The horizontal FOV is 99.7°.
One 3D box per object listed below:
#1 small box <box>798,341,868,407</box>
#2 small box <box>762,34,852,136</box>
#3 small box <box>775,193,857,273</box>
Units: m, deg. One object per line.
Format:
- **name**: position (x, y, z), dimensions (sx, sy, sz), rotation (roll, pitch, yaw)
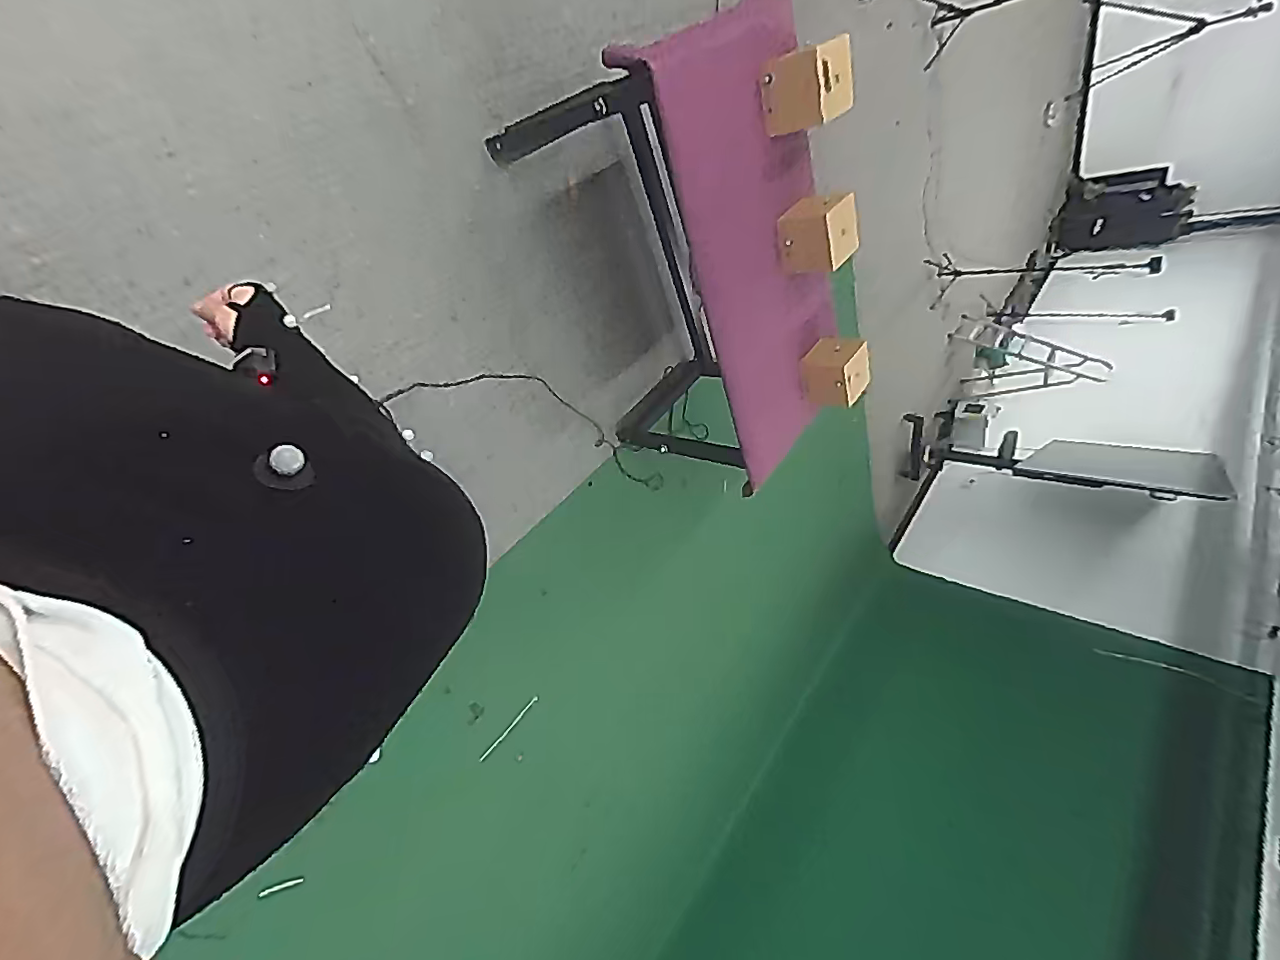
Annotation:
- **small box**: position (0.675, -0.376, 1.889), dimensions (0.179, 0.176, 0.168), rotation (-47, 130, -28)
- **small box**: position (0.435, -1.035, 1.427), dimensions (0.179, 0.176, 0.168), rotation (-43, 130, -29)
- **small box**: position (0.528, -0.738, 1.624), dimensions (0.179, 0.176, 0.168), rotation (-45, 130, -28)
